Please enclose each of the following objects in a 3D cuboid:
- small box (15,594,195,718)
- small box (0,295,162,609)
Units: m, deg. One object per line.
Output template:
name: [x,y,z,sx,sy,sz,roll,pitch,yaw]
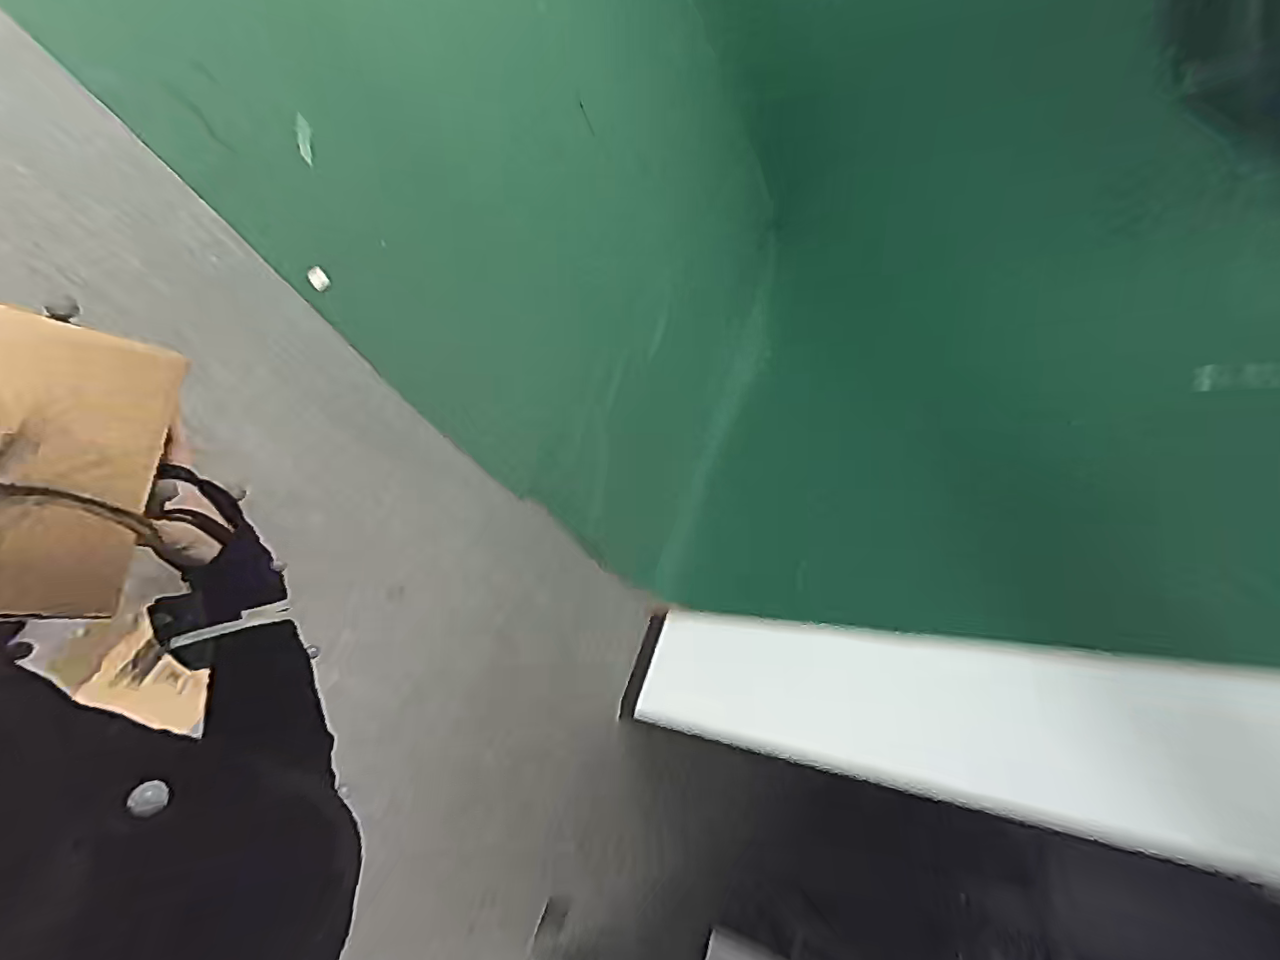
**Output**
small box: [-1.040,0.335,1.055,0.179,0.176,0.168,54,47,-36]
small box: [-0.435,-0.034,0.334,0.168,0.176,0.179,15,94,-49]
